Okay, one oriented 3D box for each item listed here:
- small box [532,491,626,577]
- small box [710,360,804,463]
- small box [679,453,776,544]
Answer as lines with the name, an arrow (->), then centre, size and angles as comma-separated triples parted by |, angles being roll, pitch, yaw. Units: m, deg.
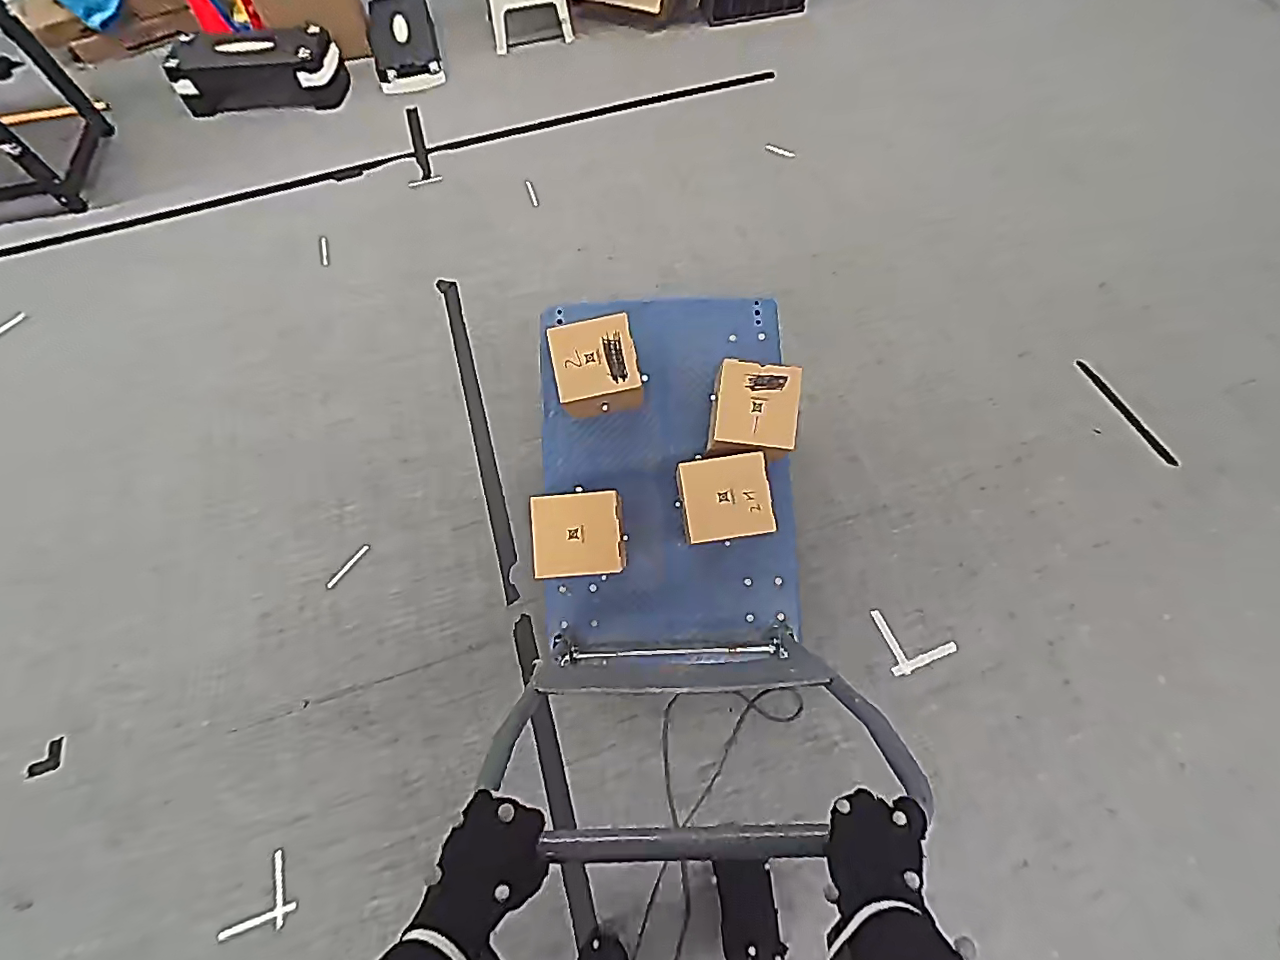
small box -> -0.125, 0.119, 1.163 | 0.179, 0.176, 0.168 | -5, 83, 0
small box -> 0.248, -0.144, 1.180 | 0.168, 0.176, 0.179 | 8, 84, 3
small box -> 0.179, 0.046, 1.160 | 0.179, 0.176, 0.168 | -8, 83, 1
